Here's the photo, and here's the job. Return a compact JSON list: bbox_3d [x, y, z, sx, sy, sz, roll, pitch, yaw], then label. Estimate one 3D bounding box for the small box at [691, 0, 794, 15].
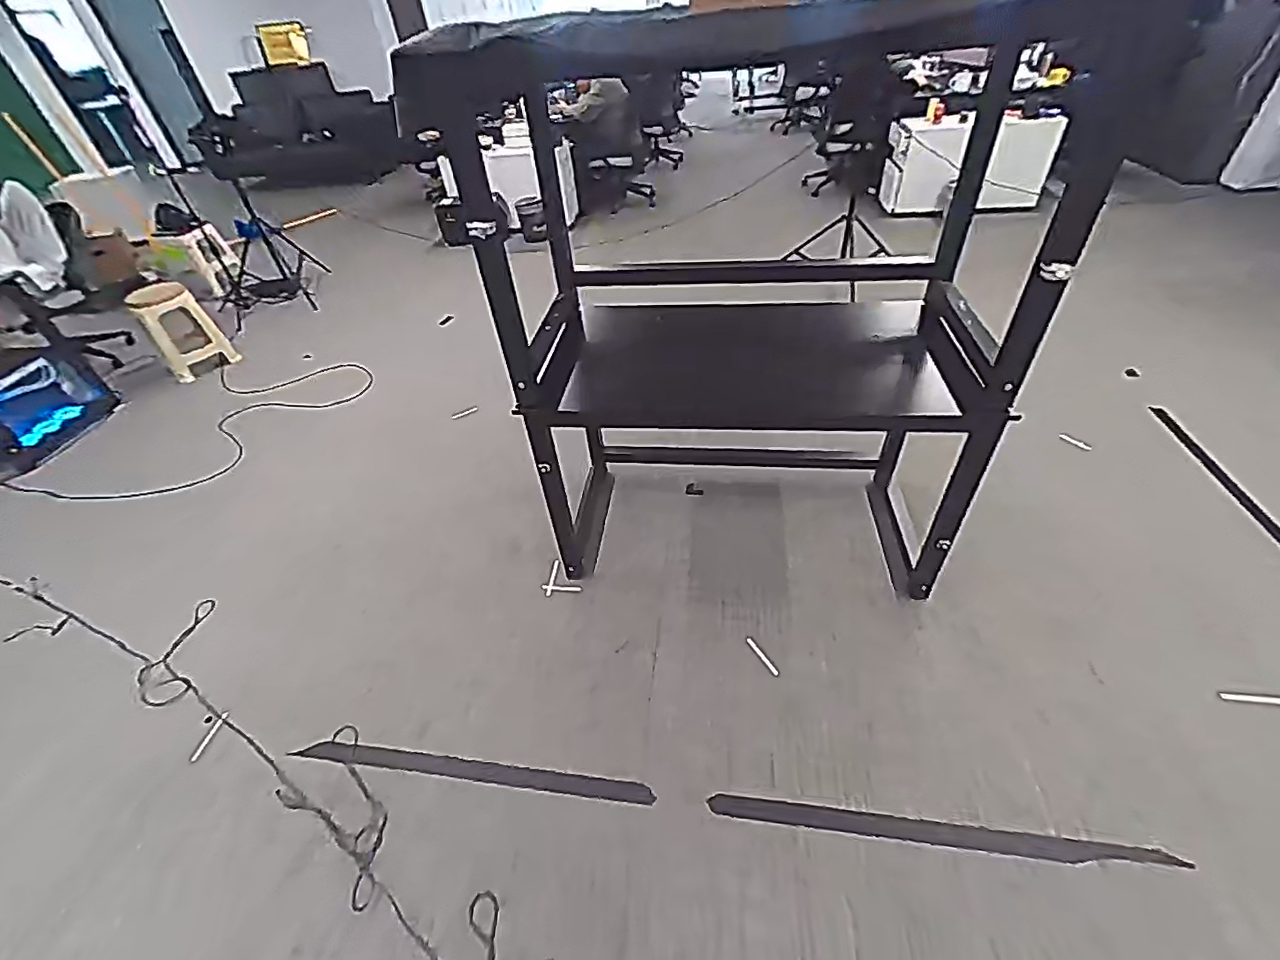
[{"bbox_3d":[0.168,-0.862,0.867,0.168,0.176,0.179,3,40,10],"label":"small box"}]
